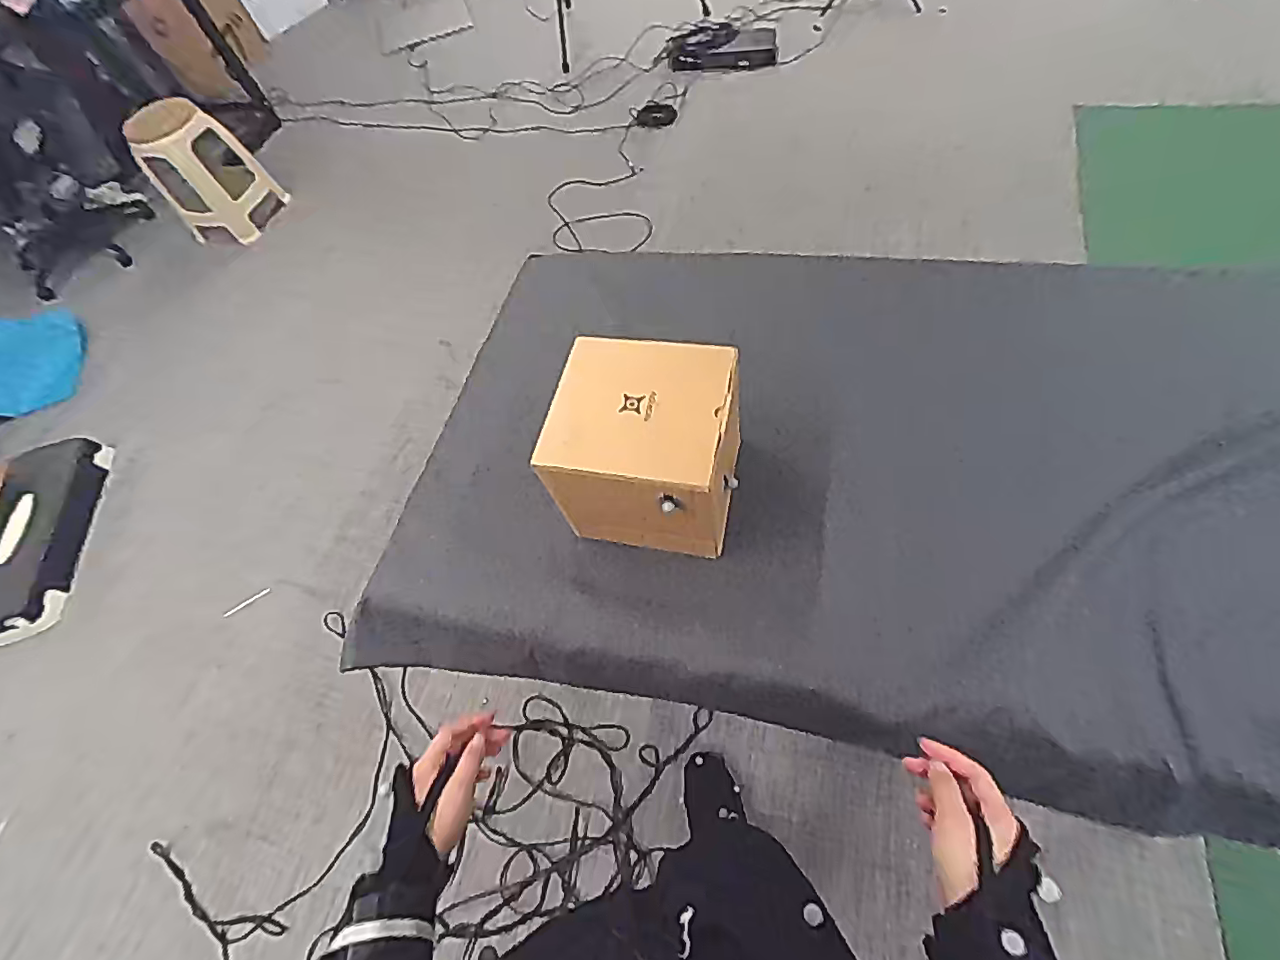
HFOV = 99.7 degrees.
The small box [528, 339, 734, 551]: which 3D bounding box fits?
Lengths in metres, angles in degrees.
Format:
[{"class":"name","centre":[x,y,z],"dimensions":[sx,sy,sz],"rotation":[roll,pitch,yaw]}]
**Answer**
[{"class":"small box","centre":[0.006,-0.034,0.599],"dimensions":[0.179,0.176,0.168],"rotation":[7,61,14]}]
